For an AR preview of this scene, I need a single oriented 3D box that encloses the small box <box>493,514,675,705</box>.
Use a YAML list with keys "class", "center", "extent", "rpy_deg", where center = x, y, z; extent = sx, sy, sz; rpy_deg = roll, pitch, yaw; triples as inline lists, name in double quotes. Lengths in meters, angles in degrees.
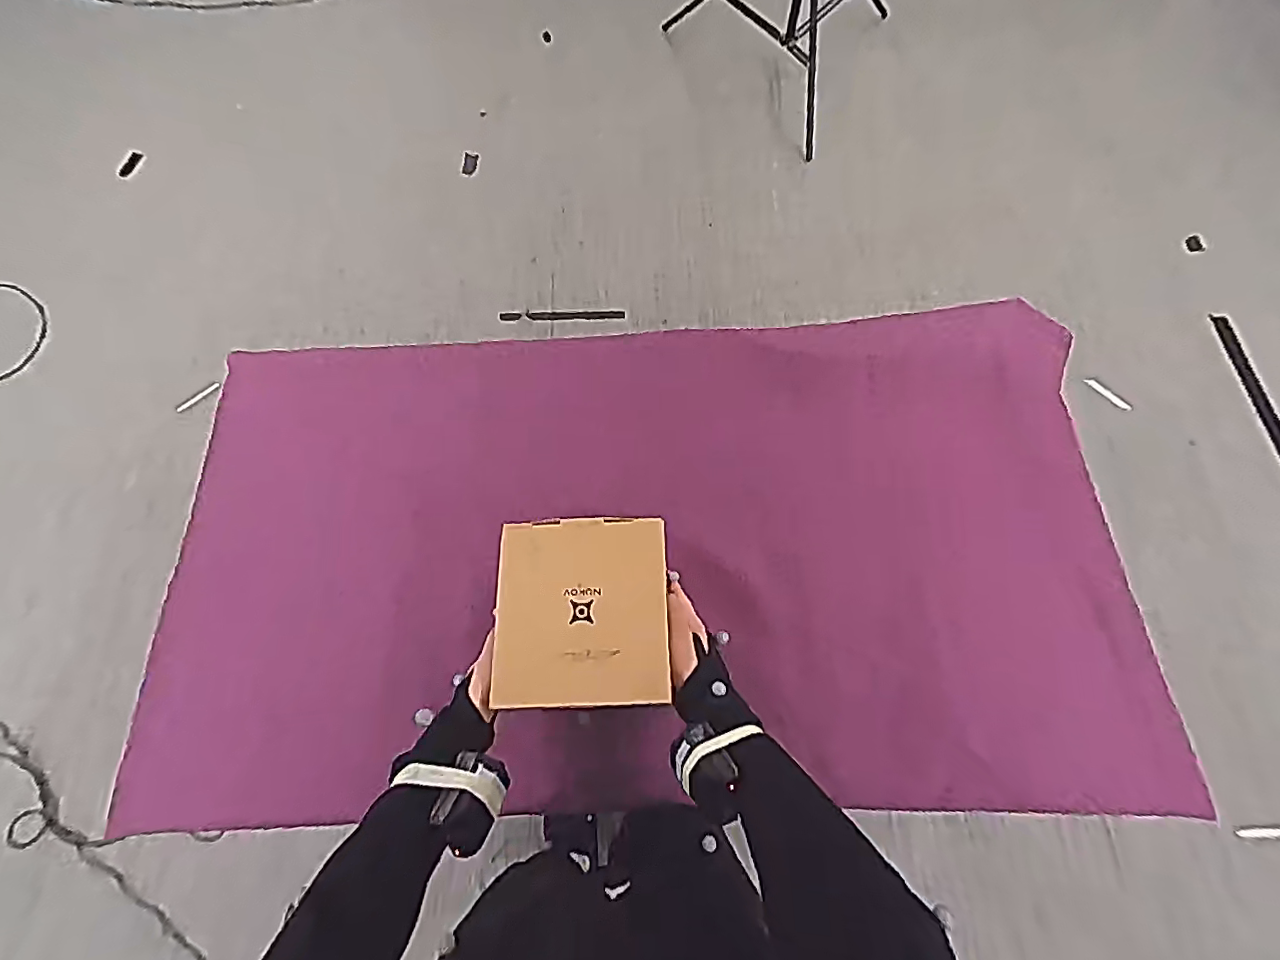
- class: "small box"
  center: [-0.051, 0.147, 0.588]
  extent: [0.168, 0.176, 0.179]
  rpy_deg: [-3, 68, 1]
